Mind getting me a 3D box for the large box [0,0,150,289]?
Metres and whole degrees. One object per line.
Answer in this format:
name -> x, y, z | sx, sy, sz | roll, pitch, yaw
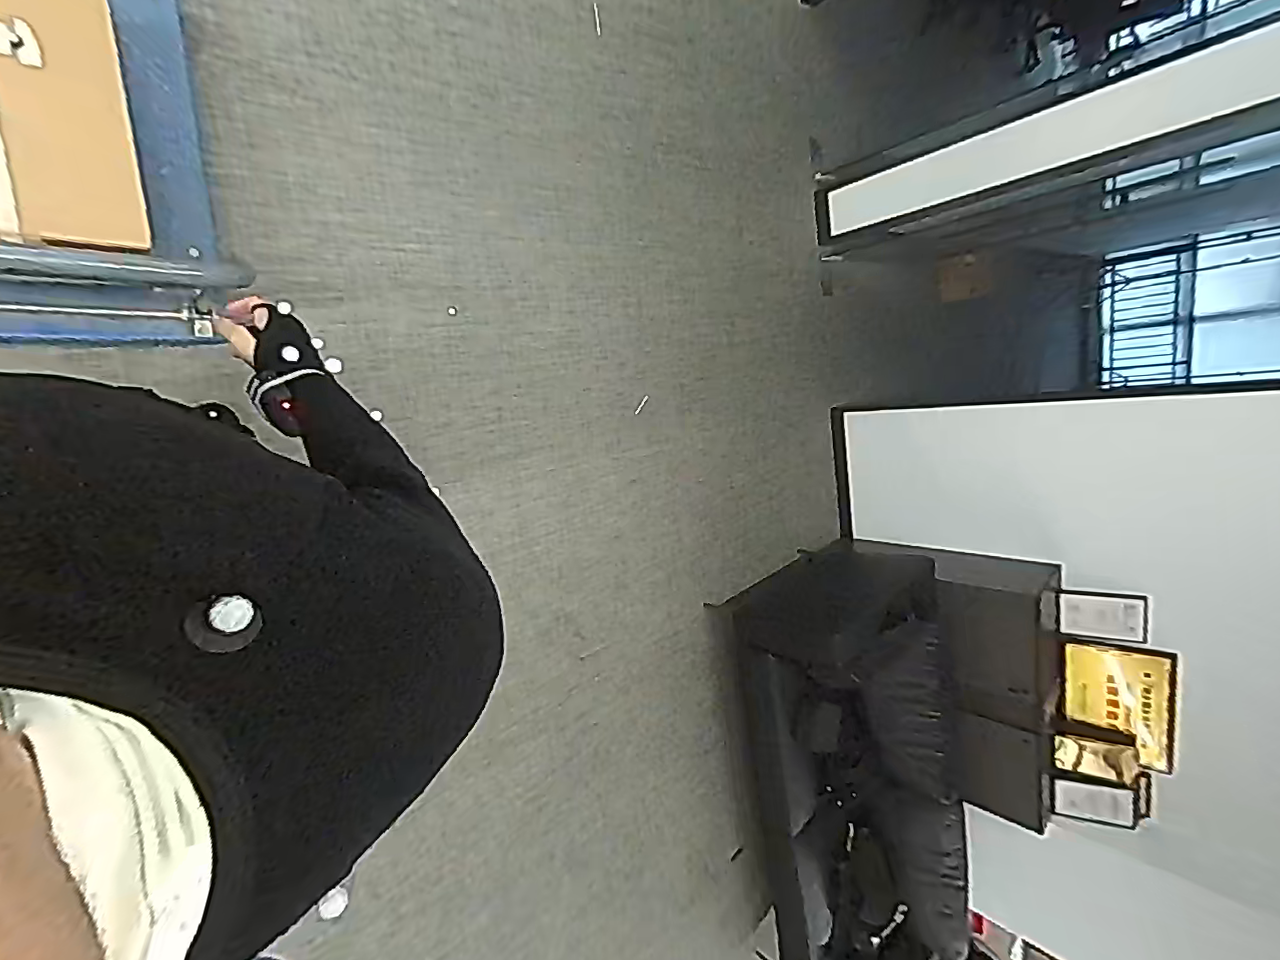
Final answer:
large box -> -1.034, -0.552, 0.869 | 0.320, 0.320, 0.408 | -11, 99, -41
